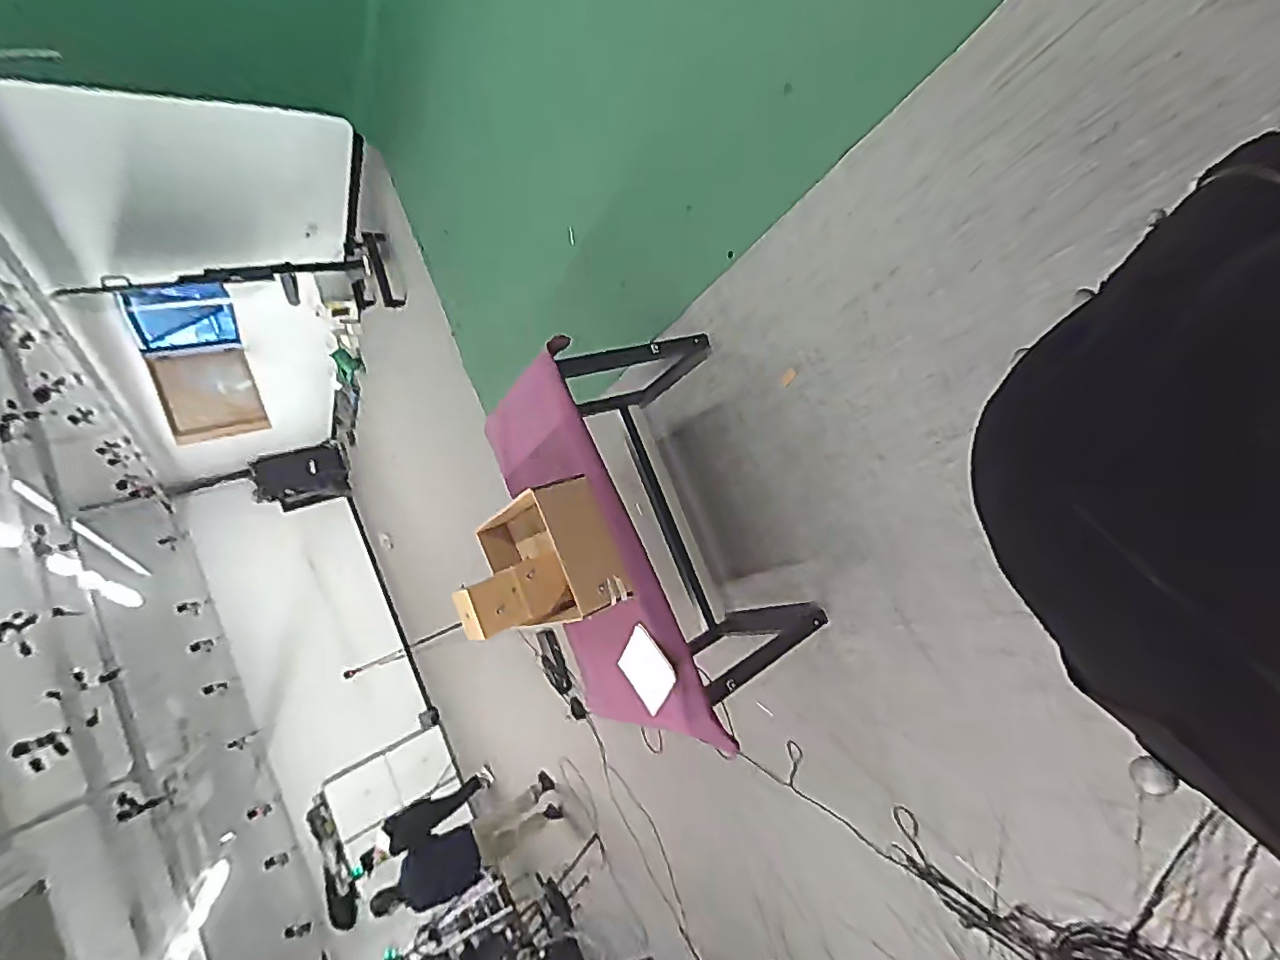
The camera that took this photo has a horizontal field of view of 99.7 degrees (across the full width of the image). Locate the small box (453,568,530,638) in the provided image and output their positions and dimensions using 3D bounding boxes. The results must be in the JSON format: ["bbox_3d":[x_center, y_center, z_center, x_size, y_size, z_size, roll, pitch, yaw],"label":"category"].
[{"bbox_3d":[-0.472,0.394,1.733,0.179,0.176,0.168,-25,86,54],"label":"small box"}]
